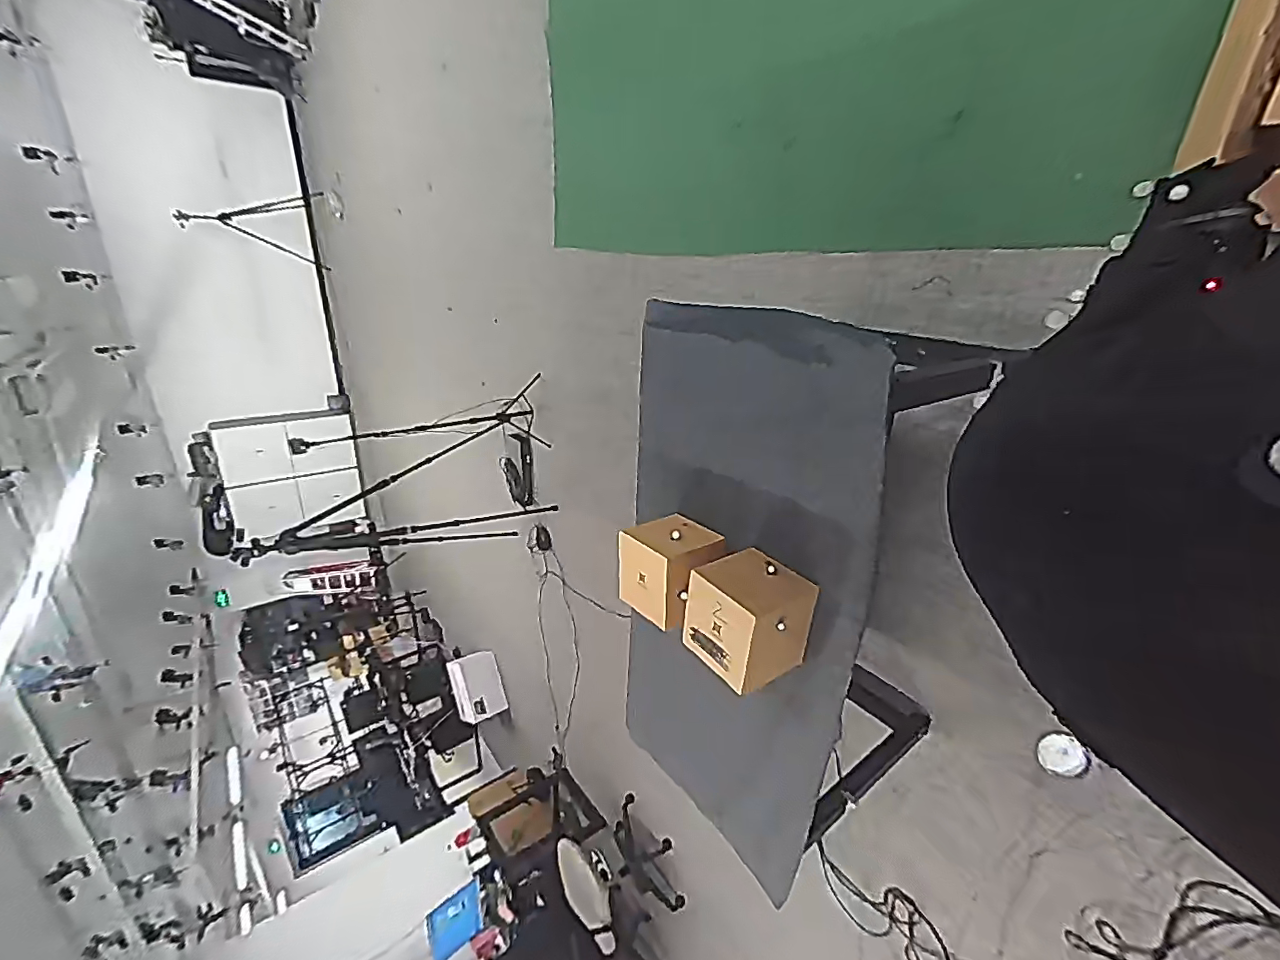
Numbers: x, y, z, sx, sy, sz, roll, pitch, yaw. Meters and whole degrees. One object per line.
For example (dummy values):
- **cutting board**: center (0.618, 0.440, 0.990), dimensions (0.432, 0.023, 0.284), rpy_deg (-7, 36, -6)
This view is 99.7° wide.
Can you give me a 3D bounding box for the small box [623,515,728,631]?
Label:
- **small box**: center (0.079, 0.193, 1.192), dimensions (0.168, 0.176, 0.179), rpy_deg (24, 121, 48)
